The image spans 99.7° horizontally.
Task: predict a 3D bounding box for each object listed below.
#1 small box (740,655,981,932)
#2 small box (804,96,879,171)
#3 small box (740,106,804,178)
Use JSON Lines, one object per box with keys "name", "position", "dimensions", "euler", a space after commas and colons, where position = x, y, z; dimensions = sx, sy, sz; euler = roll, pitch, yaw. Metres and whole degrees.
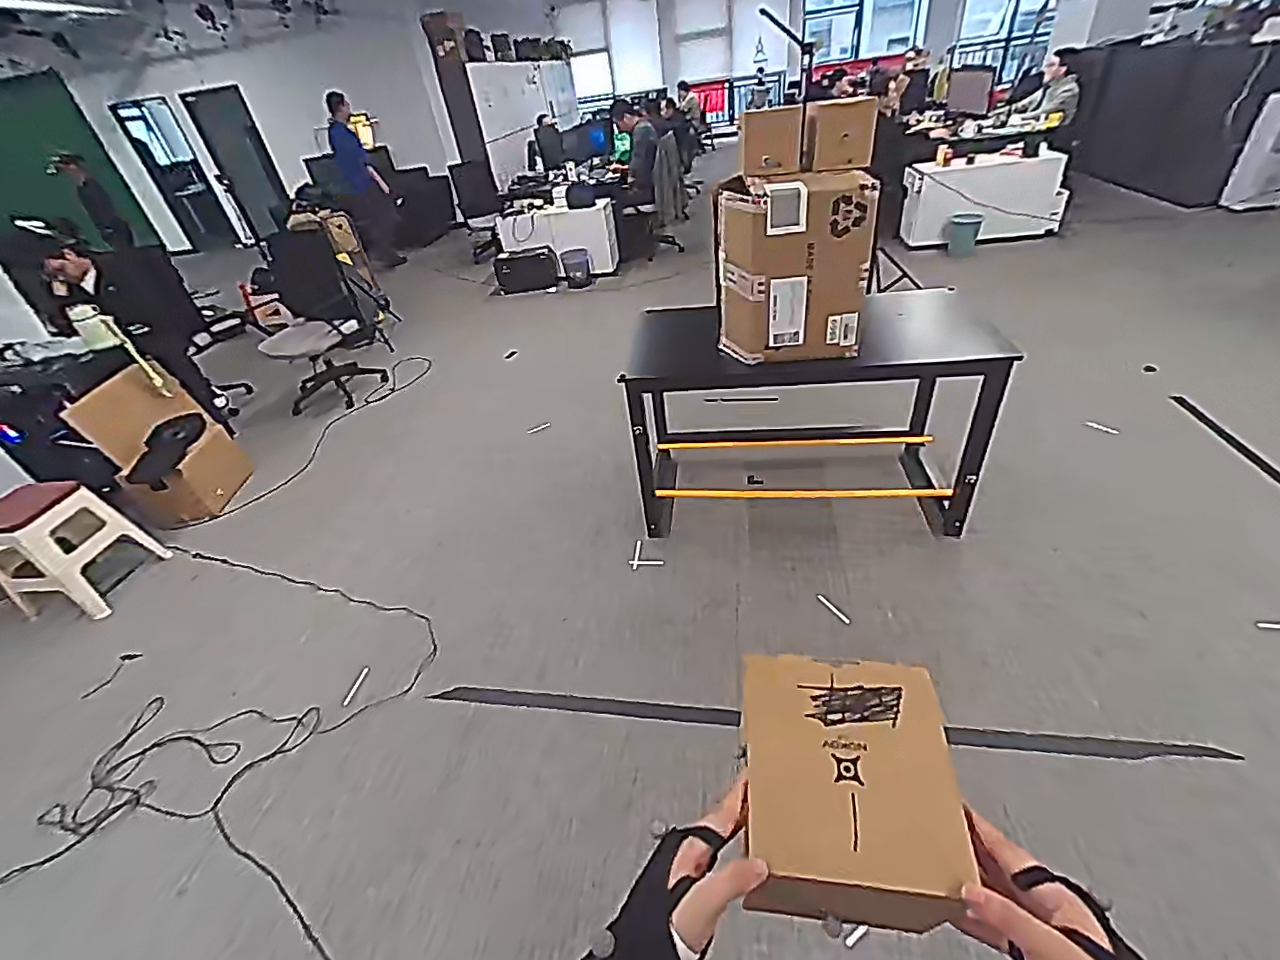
{"name": "small box", "position": [0.180, 0.291, 0.509], "dimensions": [0.168, 0.176, 0.179], "euler": [1, 44, 10]}
{"name": "small box", "position": [0.590, -1.027, 1.606], "dimensions": [0.168, 0.176, 0.179], "euler": [-1, 37, 5]}
{"name": "small box", "position": [0.393, -1.022, 1.636], "dimensions": [0.168, 0.176, 0.179], "euler": [-4, 35, 6]}
